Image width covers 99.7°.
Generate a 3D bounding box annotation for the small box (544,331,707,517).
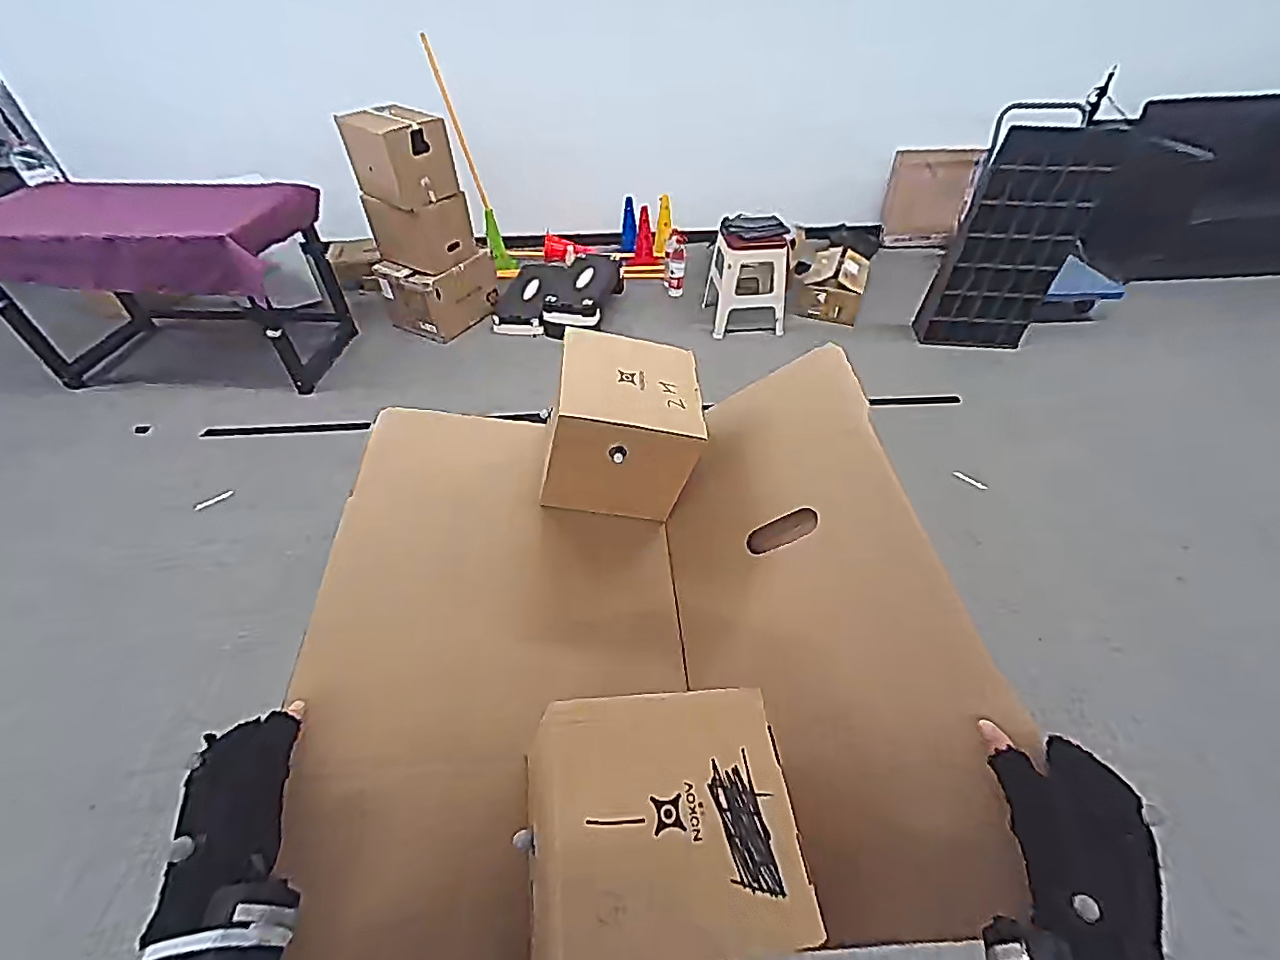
[{"bbox_3d":[-0.027,-0.068,0.720,0.179,0.176,0.168,9,49,-13],"label":"small box"}]
